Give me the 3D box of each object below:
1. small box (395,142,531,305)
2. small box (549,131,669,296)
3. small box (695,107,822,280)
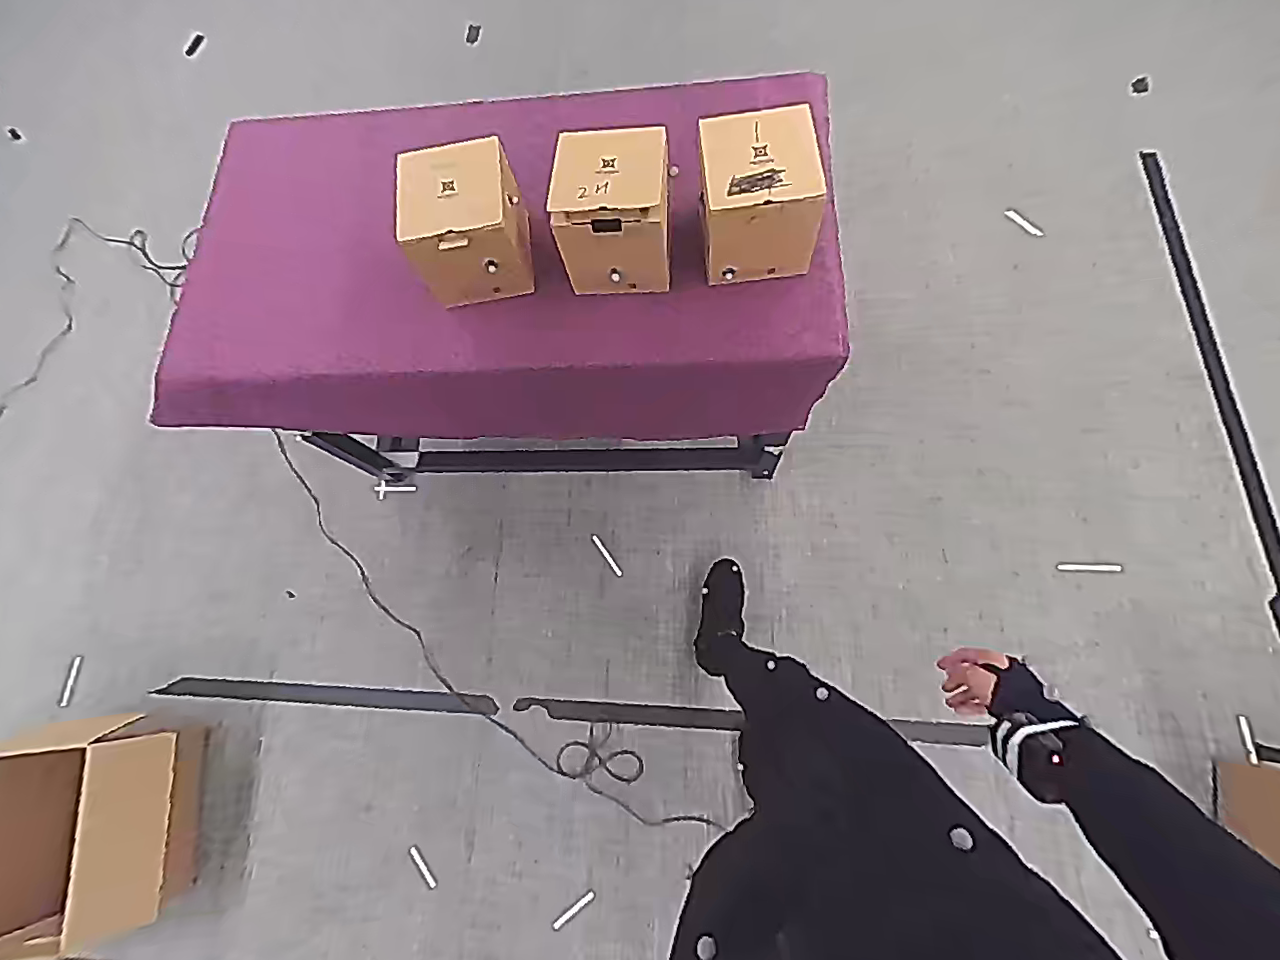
[{"bbox_3d":[-0.286,-0.413,0.902,0.168,0.176,0.179,-9,72,3],"label":"small box"},{"bbox_3d":[-0.040,-0.422,0.875,0.168,0.176,0.179,0,73,7],"label":"small box"},{"bbox_3d":[0.178,-0.437,0.855,0.168,0.176,0.179,-5,71,5],"label":"small box"}]
